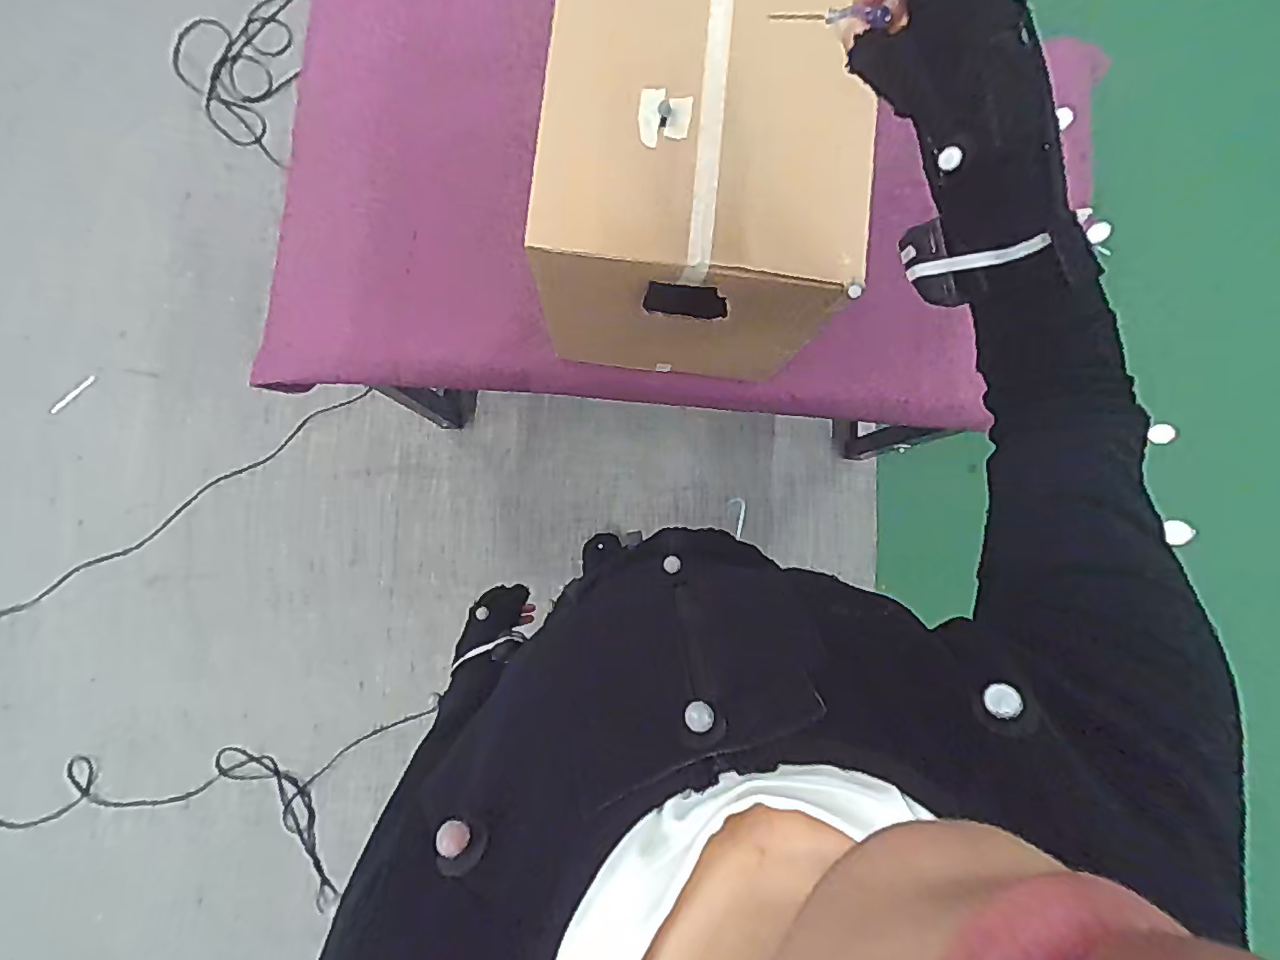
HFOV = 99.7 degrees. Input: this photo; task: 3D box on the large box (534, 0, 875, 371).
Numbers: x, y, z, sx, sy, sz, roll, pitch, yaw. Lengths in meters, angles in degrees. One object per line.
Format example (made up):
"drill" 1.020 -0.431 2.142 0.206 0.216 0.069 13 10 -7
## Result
"large box" 0.061 -0.385 0.667 0.320 0.320 0.408 6 85 -3
